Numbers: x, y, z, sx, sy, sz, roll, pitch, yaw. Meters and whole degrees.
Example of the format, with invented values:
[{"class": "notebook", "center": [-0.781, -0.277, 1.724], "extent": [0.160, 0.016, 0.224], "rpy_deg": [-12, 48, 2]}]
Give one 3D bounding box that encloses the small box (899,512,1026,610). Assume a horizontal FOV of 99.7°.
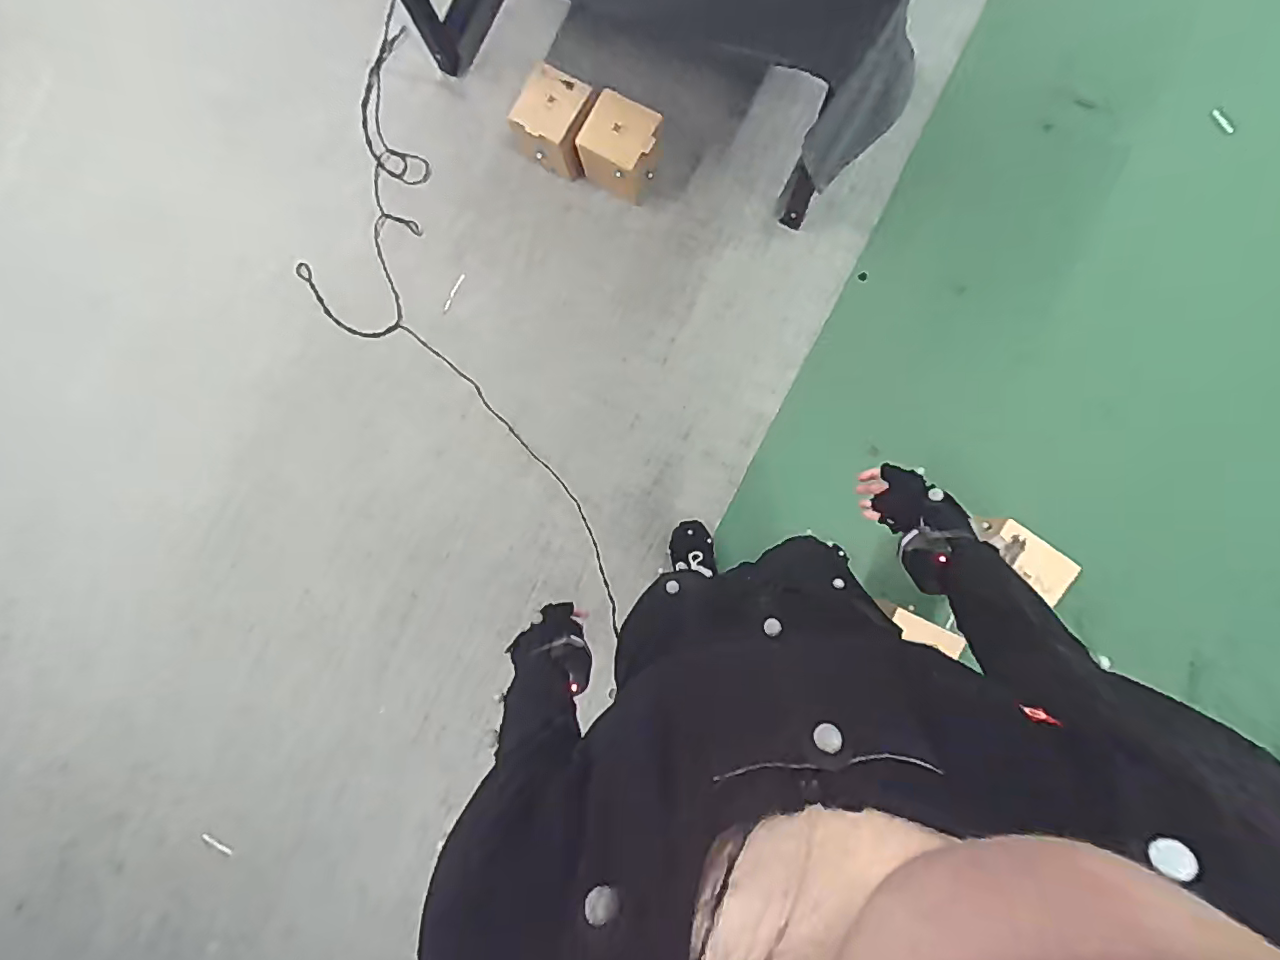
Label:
[{"class": "small box", "center": [0.792, 0.193, 1.348], "extent": [0.179, 0.176, 0.168], "rpy_deg": [38, 90, 6]}]
